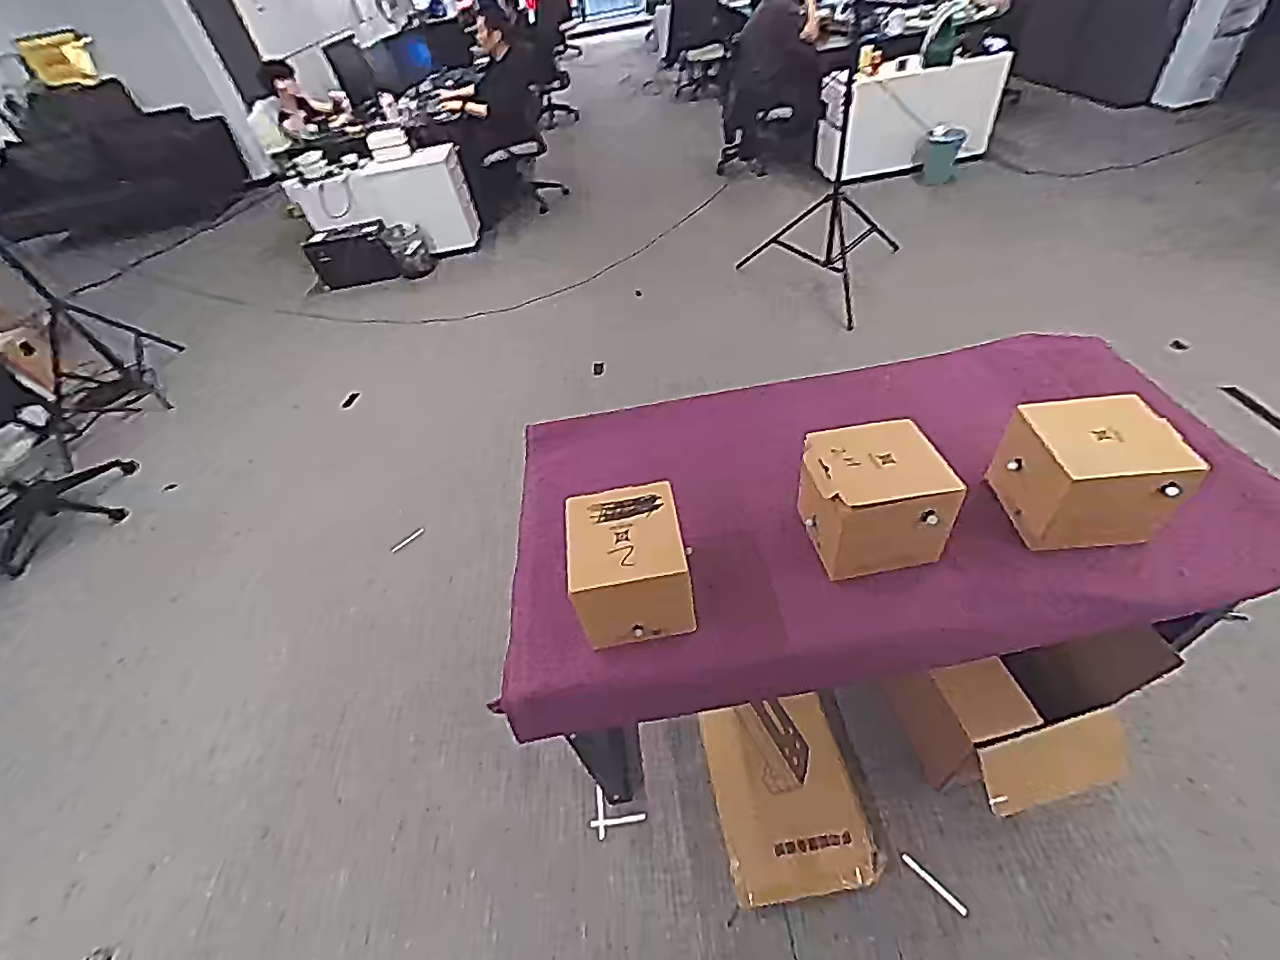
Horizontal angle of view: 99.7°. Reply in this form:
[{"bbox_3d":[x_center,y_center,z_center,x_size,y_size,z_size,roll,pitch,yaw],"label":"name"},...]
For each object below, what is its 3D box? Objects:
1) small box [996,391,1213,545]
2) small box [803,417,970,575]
[{"bbox_3d":[0.686,-0.013,0.834,0.179,0.176,0.168,-5,46,5],"label":"small box"},{"bbox_3d":[0.371,0.028,0.854,0.179,0.176,0.168,-11,43,1],"label":"small box"}]
